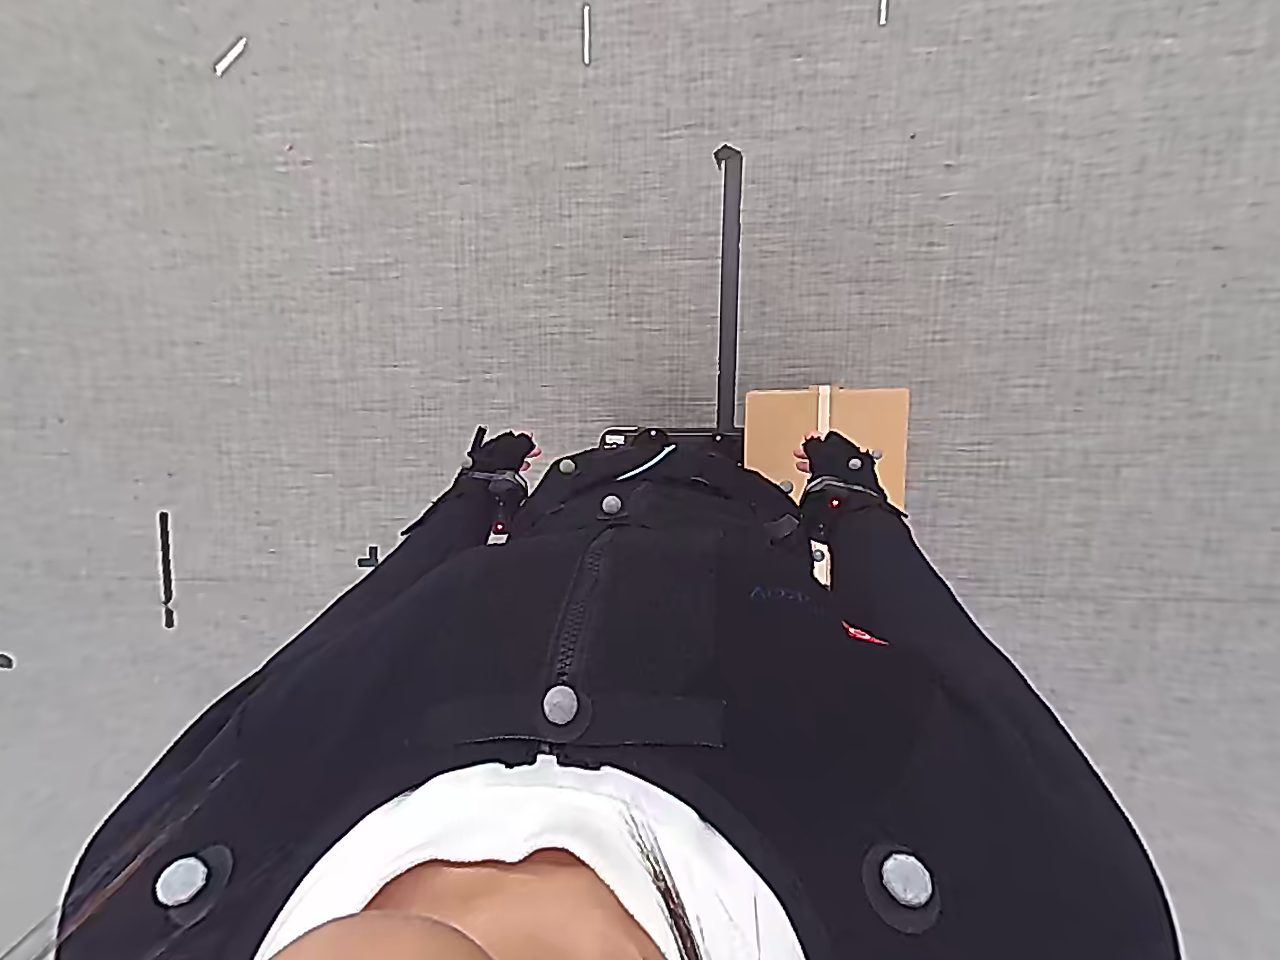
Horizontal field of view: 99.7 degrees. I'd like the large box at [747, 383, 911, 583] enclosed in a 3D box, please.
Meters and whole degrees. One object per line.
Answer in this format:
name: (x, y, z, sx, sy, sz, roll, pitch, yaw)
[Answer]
large box: (0.410, -0.009, 1.244, 0.320, 0.320, 0.408, 1, 98, 13)
